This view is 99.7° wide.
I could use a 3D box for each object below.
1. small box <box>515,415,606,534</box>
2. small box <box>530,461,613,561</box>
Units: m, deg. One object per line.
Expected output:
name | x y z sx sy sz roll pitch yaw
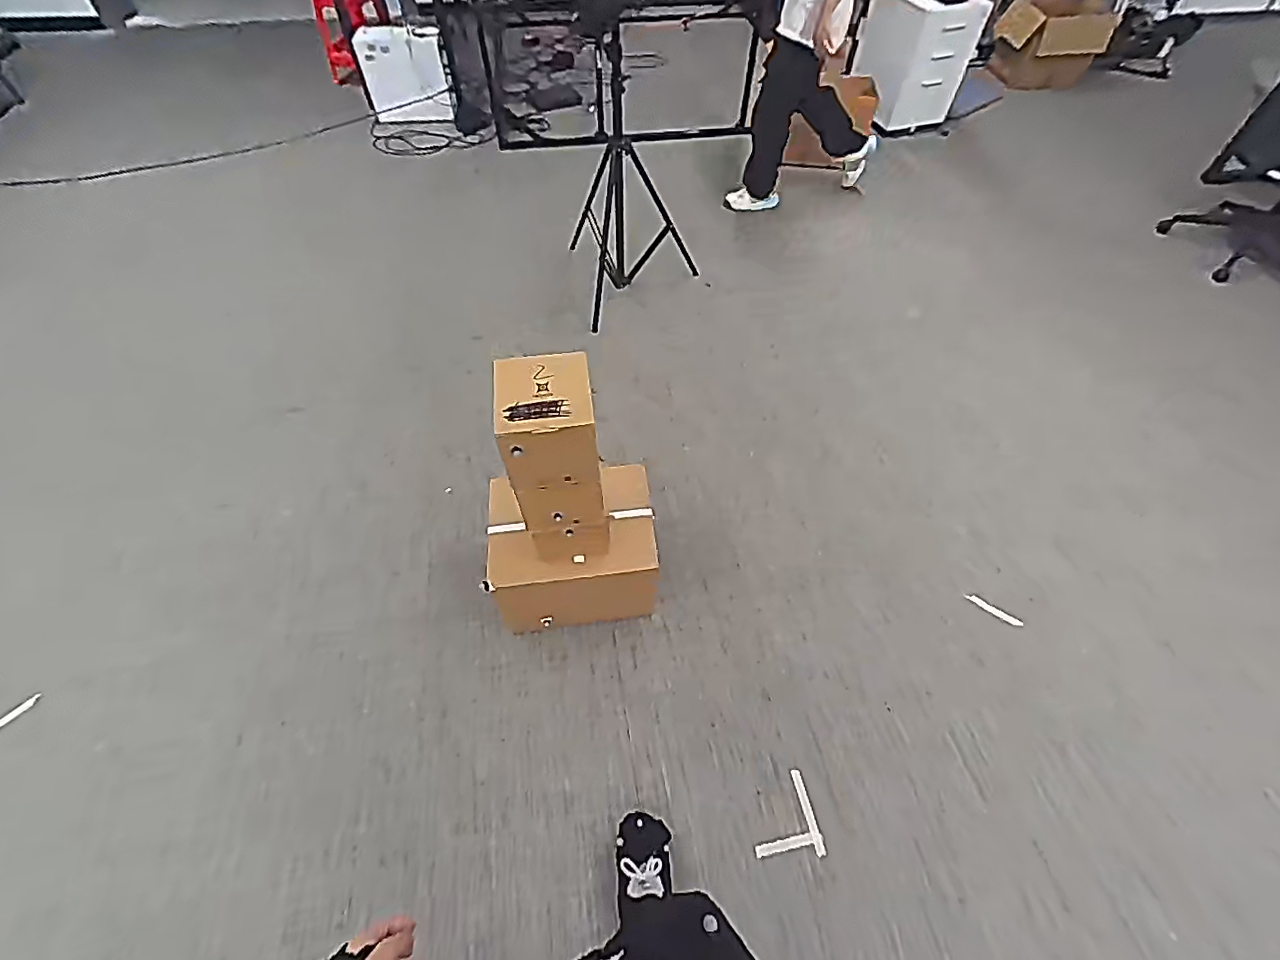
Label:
small box | -0.163 -0.009 1.127 0.168 0.176 0.179 -8 57 -6
small box | -0.162 0.075 1.265 0.179 0.176 0.168 -8 57 -7
